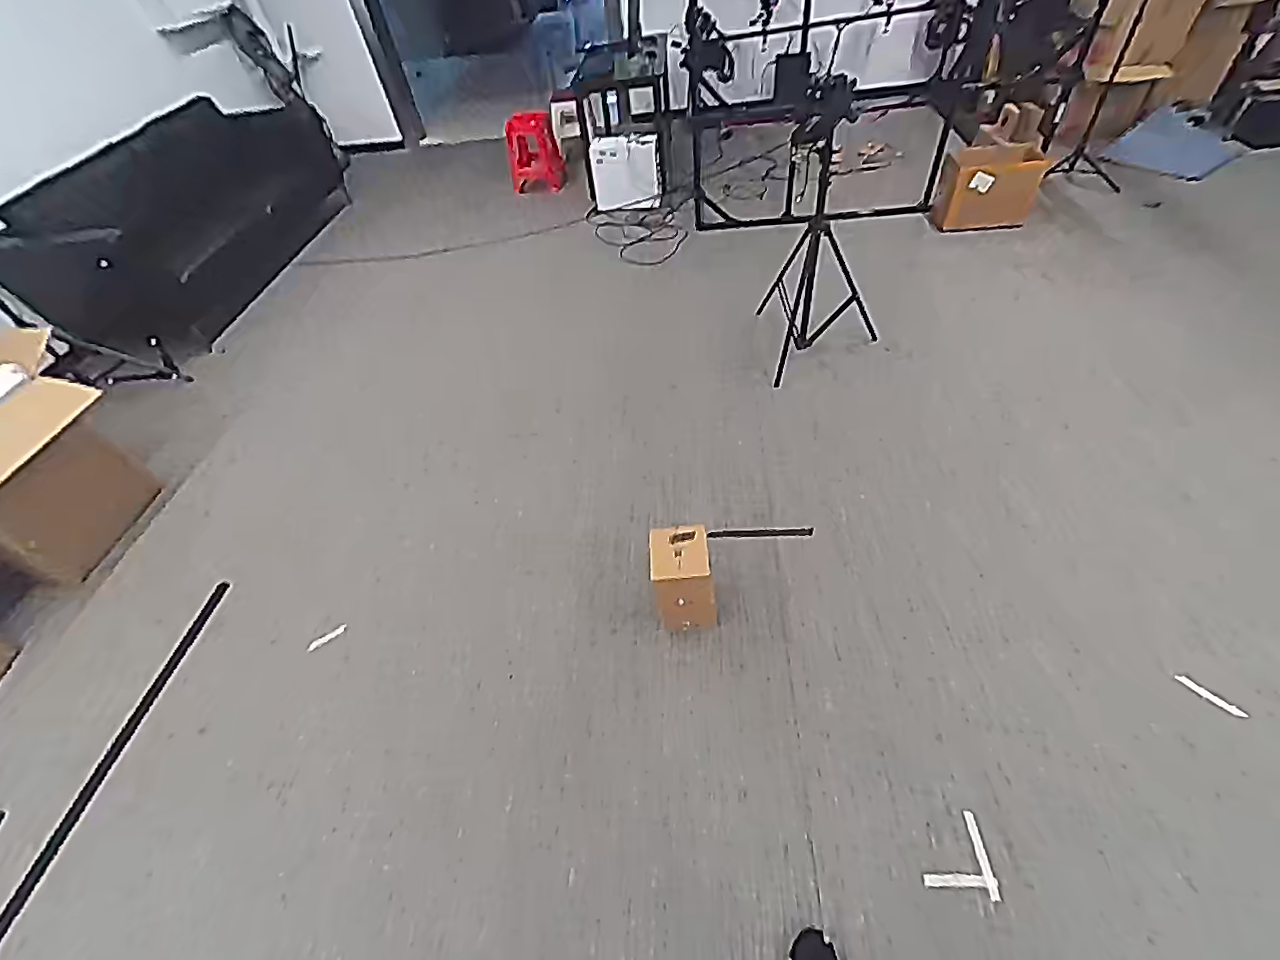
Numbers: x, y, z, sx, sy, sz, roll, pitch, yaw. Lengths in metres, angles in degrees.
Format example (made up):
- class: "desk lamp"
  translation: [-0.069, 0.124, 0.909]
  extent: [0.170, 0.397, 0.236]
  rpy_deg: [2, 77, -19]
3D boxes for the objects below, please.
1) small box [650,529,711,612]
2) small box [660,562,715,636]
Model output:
- class: "small box"
  translation: [0.118, 0.267, 1.591]
  extent: [0.168, 0.176, 0.179]
  rpy_deg: [-5, 49, 5]
- class: "small box"
  translation: [0.145, 0.372, 1.714]
  extent: [0.168, 0.176, 0.179]
  rpy_deg: [-6, 48, 4]
